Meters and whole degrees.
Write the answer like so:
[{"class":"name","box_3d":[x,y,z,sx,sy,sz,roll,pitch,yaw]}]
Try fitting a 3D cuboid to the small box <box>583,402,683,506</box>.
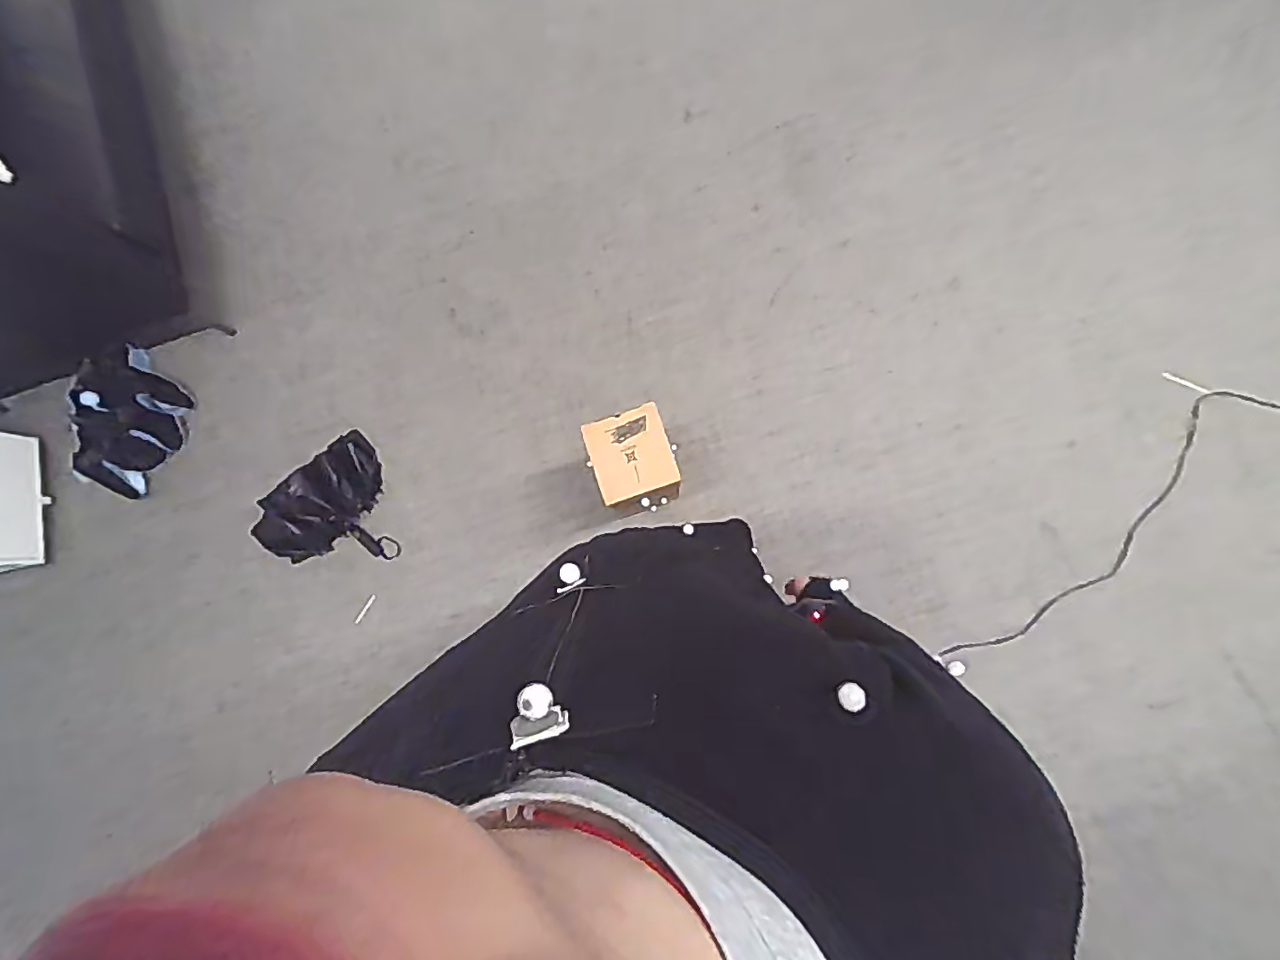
[{"class":"small box","box_3d":[-0.012,-0.049,1.185,0.168,0.176,0.179,-19,86,3]}]
